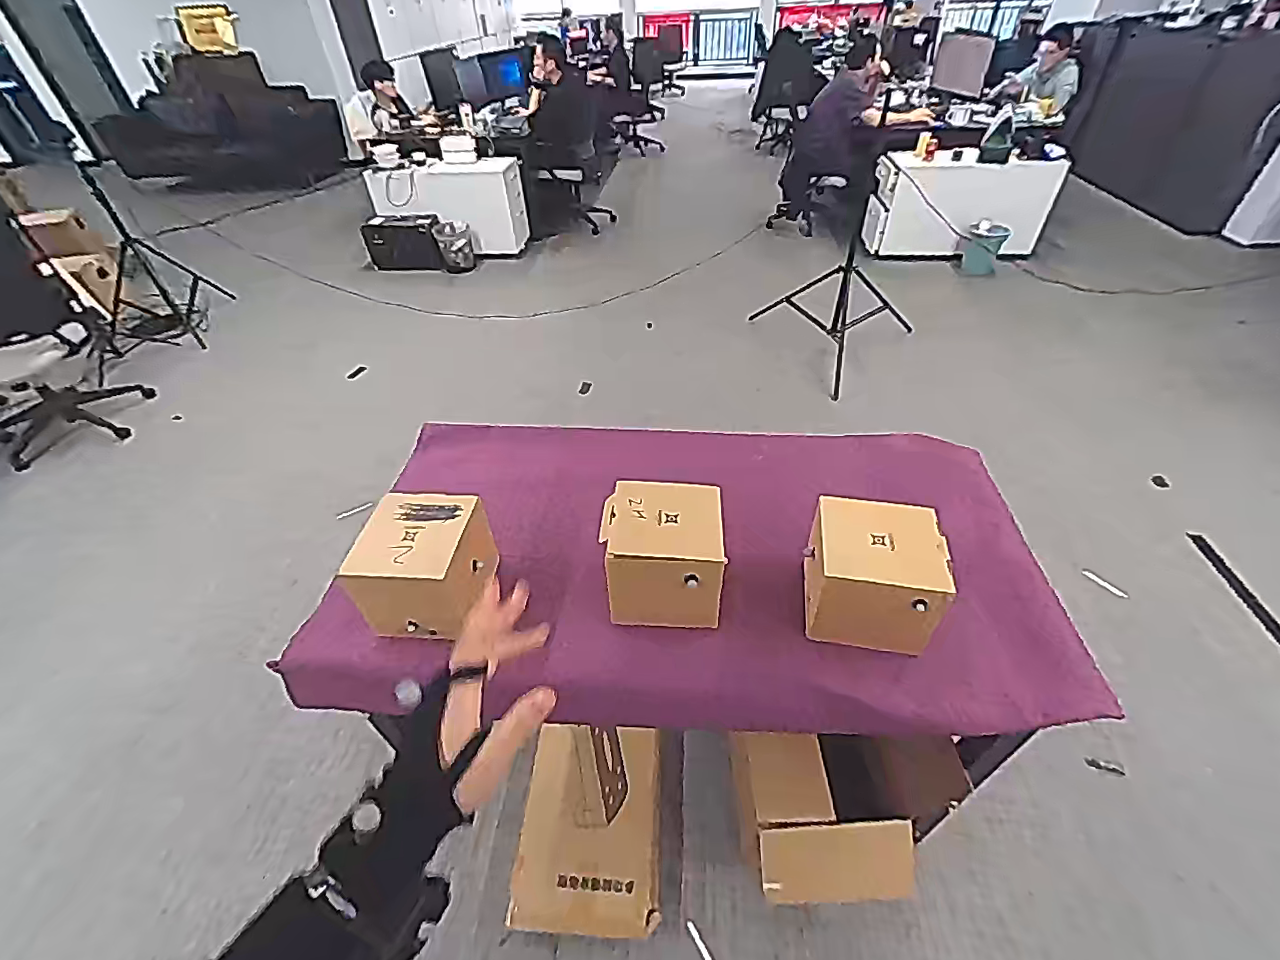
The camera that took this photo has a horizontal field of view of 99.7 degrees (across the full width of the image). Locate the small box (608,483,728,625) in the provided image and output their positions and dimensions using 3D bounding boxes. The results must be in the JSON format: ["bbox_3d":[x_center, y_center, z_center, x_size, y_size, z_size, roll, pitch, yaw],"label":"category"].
[{"bbox_3d":[0.047,0.123,0.889,0.179,0.176,0.168,1,40,4],"label":"small box"}]

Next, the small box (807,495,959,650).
[{"bbox_3d":[0.362,0.146,0.849,0.179,0.176,0.168,6,43,9],"label":"small box"}]
